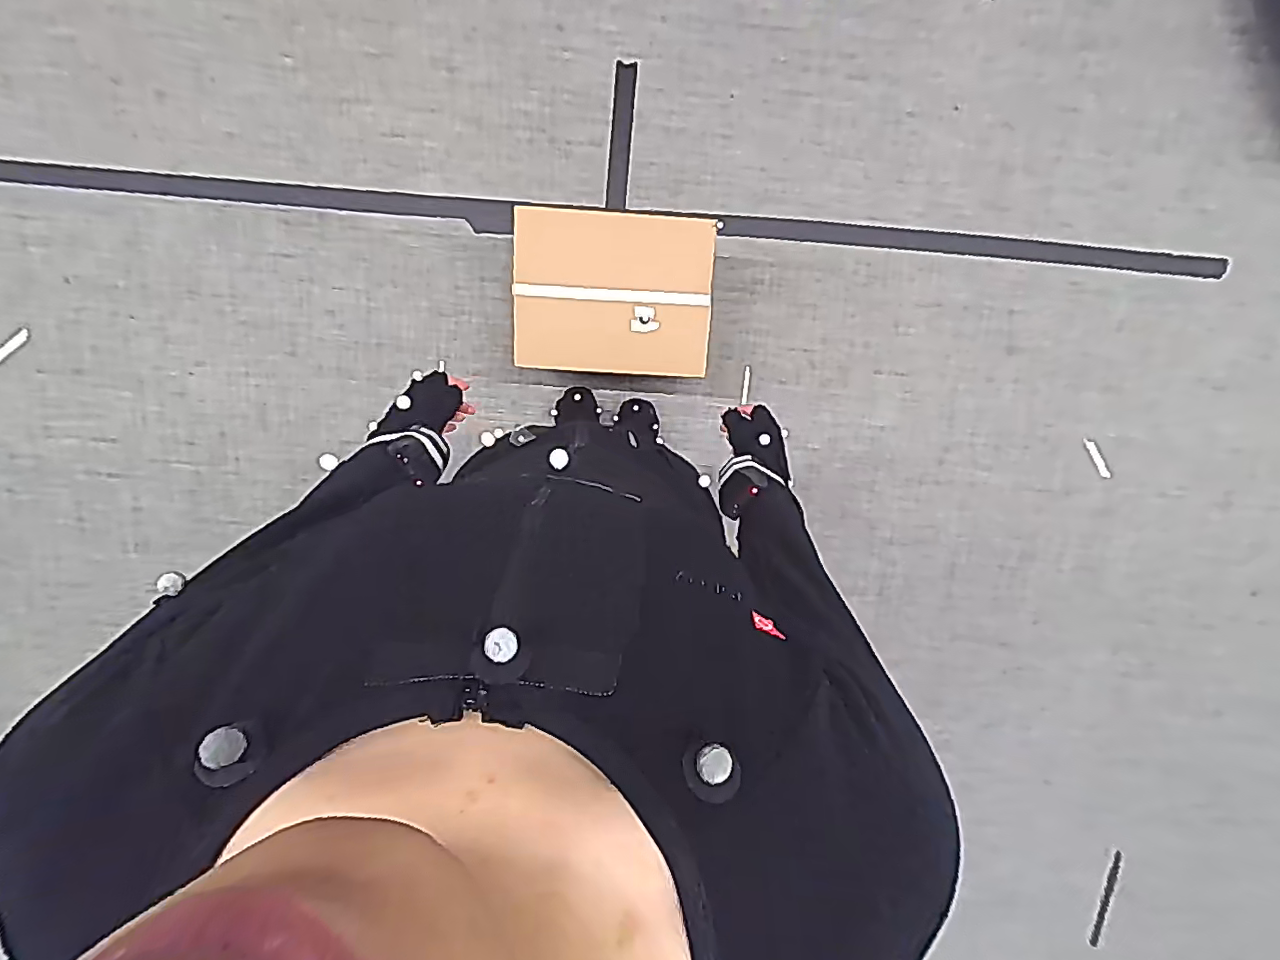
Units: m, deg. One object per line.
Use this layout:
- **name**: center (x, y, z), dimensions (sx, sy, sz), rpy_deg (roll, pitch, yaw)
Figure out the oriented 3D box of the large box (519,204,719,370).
- **large box**: center (-0.055, -0.417, 1.246), dimensions (0.408, 0.320, 0.320), rpy_deg (2, 103, -4)
